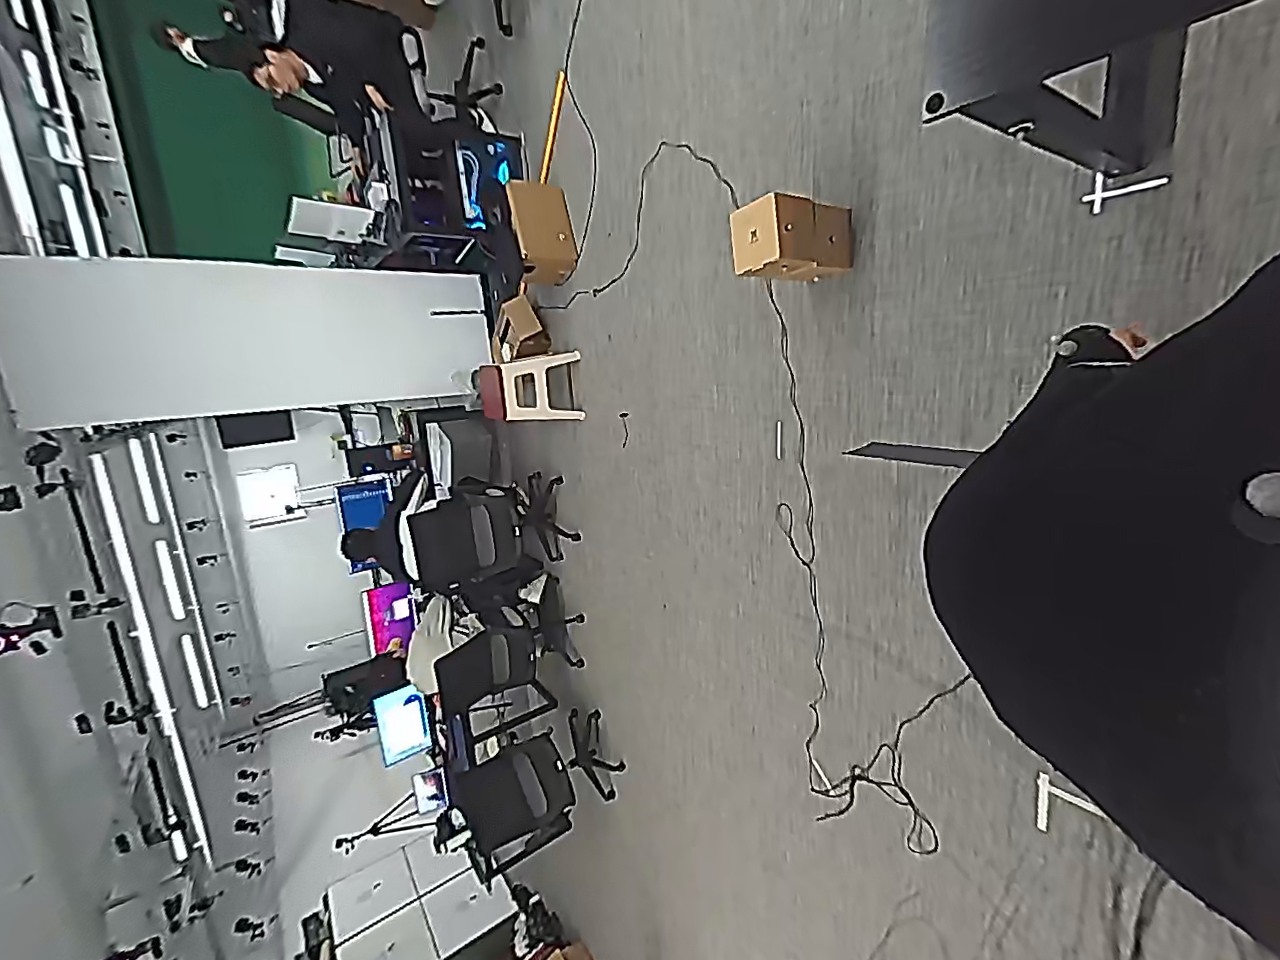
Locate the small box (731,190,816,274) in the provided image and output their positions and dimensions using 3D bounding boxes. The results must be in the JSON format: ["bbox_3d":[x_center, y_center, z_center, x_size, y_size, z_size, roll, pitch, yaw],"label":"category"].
[{"bbox_3d":[0.382,-0.694,1.536,0.168,0.176,0.179,2,101,54],"label":"small box"}]

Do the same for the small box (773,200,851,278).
[{"bbox_3d":[0.515,-0.717,1.627,0.168,0.176,0.179,8,107,55],"label":"small box"}]
